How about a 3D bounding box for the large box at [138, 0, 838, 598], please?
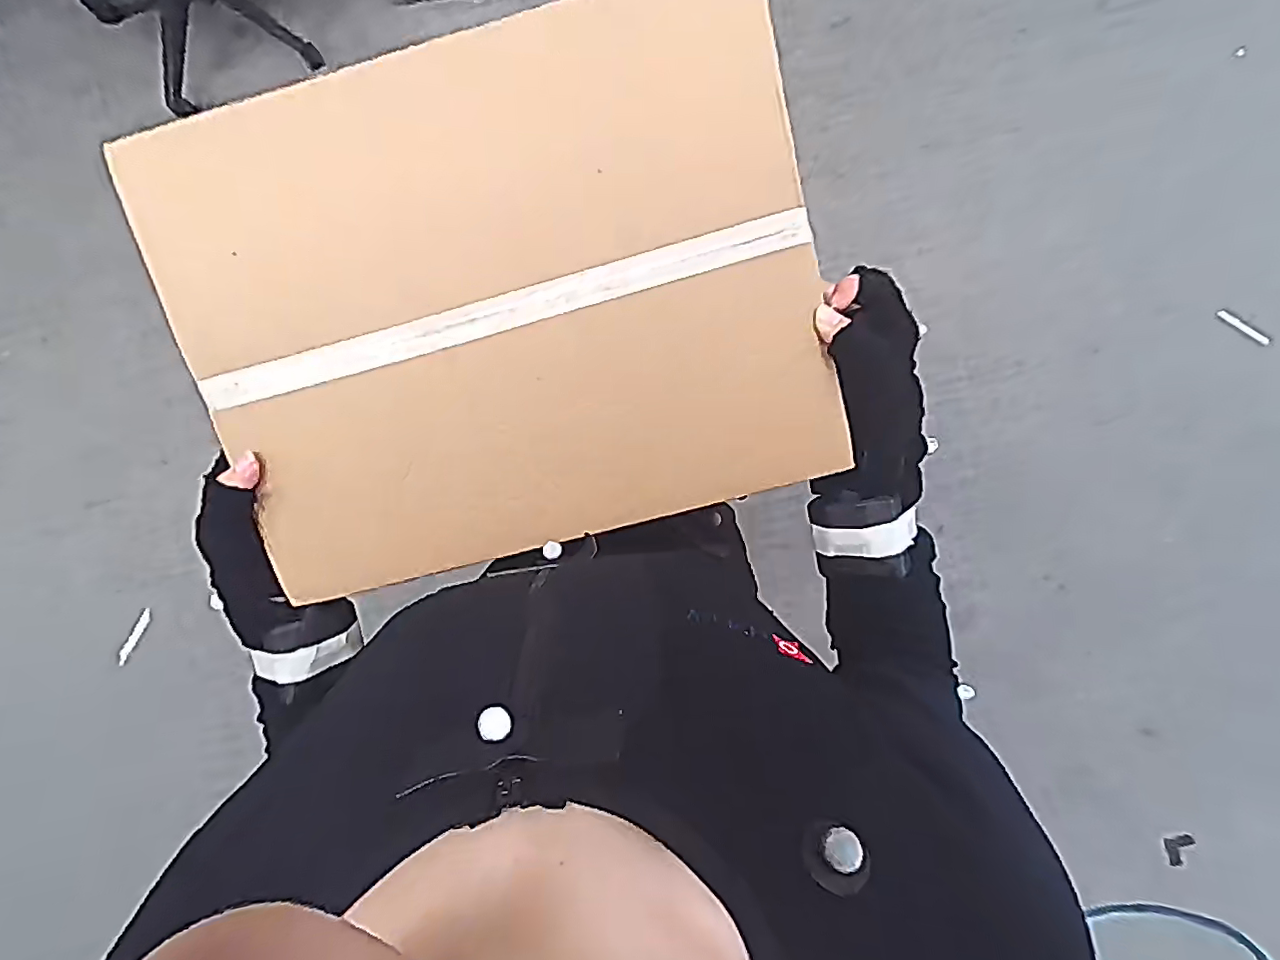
[{"bbox_3d":[-0.088,-0.137,0.503,0.408,0.320,0.320,-15,100,4],"label":"large box"}]
